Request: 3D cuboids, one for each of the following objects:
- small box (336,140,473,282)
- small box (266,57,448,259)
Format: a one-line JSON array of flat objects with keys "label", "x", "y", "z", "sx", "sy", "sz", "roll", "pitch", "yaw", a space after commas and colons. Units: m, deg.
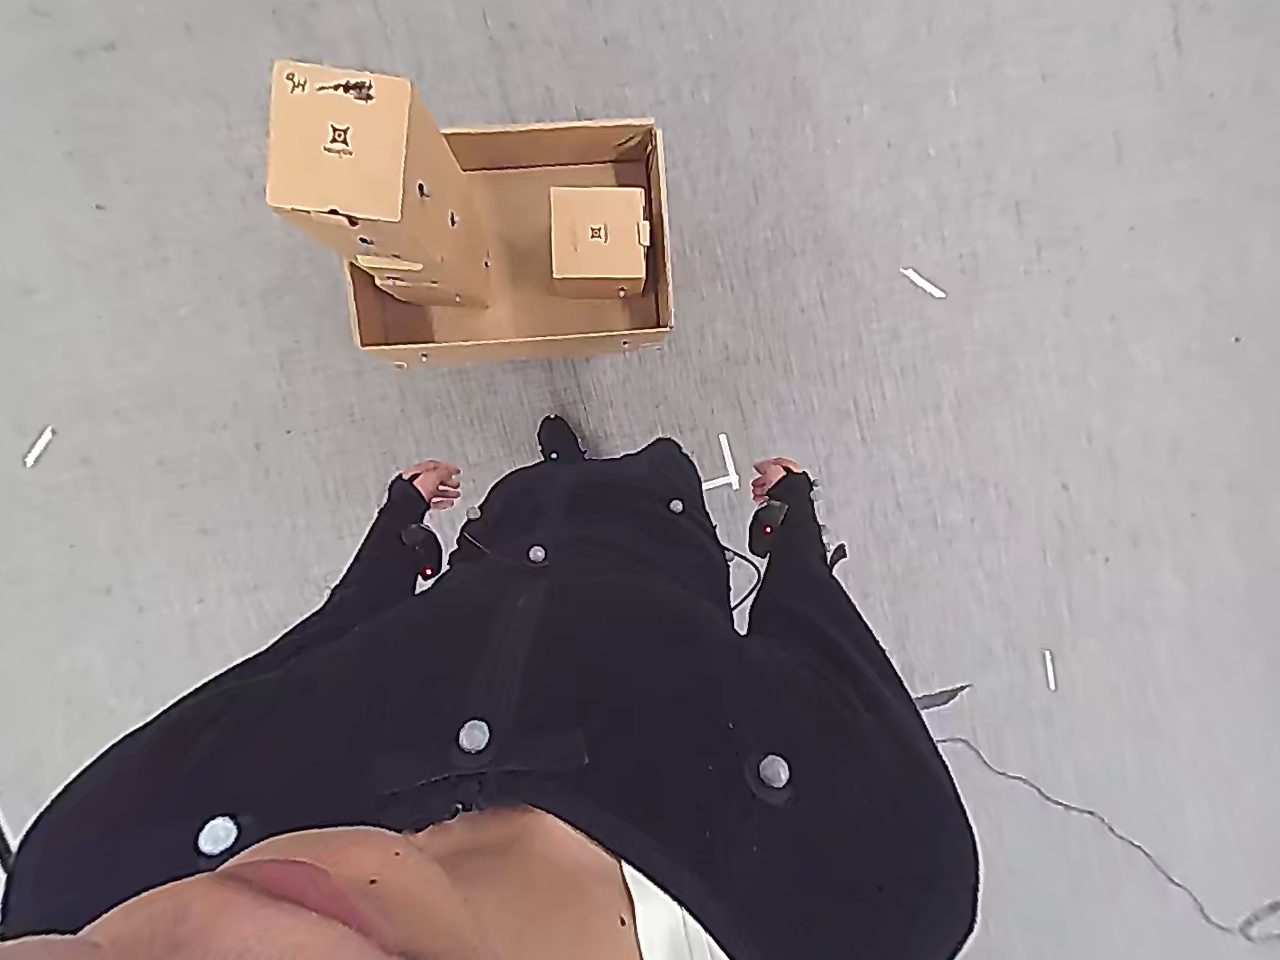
[{"label": "small box", "x": -0.384, "y": -0.443, "z": 0.904, "sx": 0.168, "sy": 0.176, "sz": 0.179, "roll": 3, "pitch": 94, "yaw": -3}, {"label": "small box", "x": -0.373, "y": -0.422, "z": 0.741, "sx": 0.168, "sy": 0.176, "sz": 0.179, "roll": 7, "pitch": 95, "yaw": -4}]
